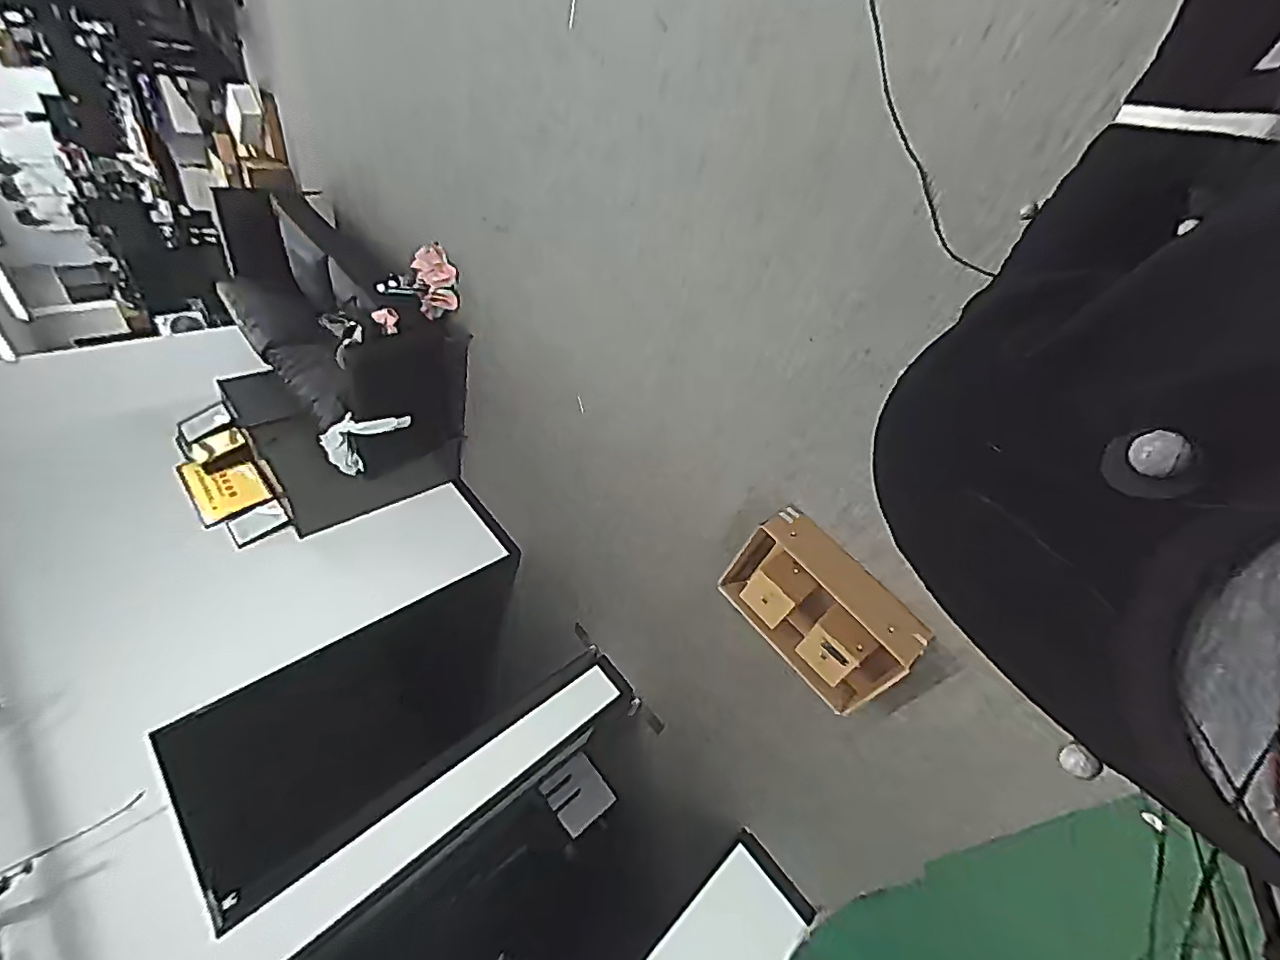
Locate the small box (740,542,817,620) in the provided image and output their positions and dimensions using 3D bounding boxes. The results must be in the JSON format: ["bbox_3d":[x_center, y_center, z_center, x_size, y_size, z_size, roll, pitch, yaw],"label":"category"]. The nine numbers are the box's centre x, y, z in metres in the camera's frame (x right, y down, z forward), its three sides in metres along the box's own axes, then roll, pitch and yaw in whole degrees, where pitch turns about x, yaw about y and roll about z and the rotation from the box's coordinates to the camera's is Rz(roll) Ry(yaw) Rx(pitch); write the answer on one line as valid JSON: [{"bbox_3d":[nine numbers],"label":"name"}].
[{"bbox_3d":[0.492,0.355,1.912,0.168,0.176,0.179,45,138,21],"label":"small box"}]
